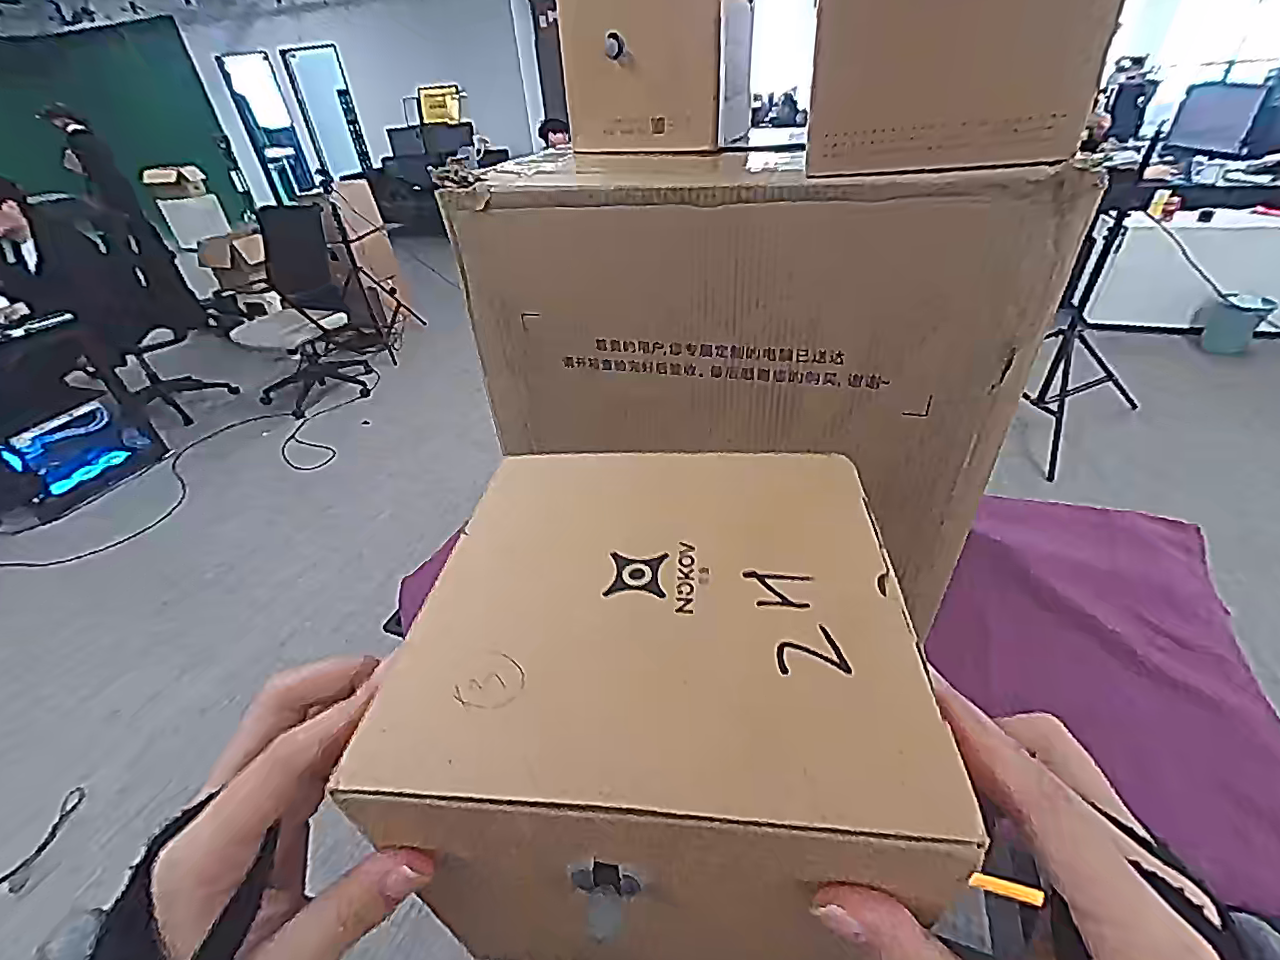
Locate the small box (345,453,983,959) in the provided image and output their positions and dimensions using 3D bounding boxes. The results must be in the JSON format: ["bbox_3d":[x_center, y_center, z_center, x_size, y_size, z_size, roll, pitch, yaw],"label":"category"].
[{"bbox_3d":[0.015,0.102,0.252,0.179,0.176,0.168,0,37,7],"label":"small box"}]

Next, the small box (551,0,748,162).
[{"bbox_3d":[0.023,-0.458,0.600,0.168,0.176,0.179,10,38,19],"label":"small box"}]

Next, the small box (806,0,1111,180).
[{"bbox_3d":[0.220,-0.330,0.401,0.179,0.176,0.168,5,38,15],"label":"small box"}]
